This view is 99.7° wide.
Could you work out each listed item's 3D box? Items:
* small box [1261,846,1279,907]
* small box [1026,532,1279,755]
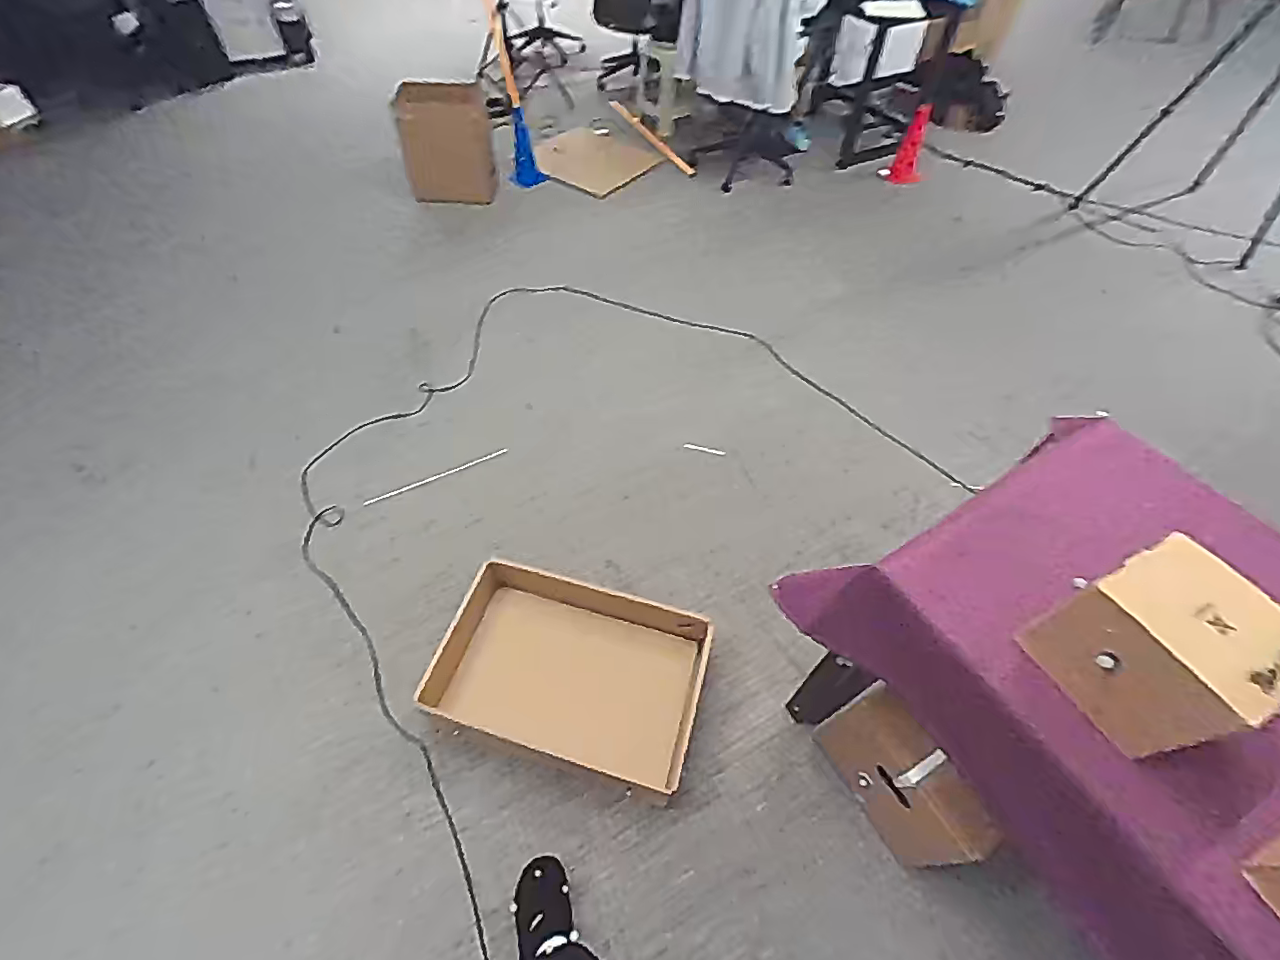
[{"bbox_3d":[0.773,0.411,0.502,0.179,0.176,0.168,-19,55,-13],"label":"small box"},{"bbox_3d":[0.630,0.200,0.657,0.168,0.176,0.179,-23,56,-16],"label":"small box"}]
